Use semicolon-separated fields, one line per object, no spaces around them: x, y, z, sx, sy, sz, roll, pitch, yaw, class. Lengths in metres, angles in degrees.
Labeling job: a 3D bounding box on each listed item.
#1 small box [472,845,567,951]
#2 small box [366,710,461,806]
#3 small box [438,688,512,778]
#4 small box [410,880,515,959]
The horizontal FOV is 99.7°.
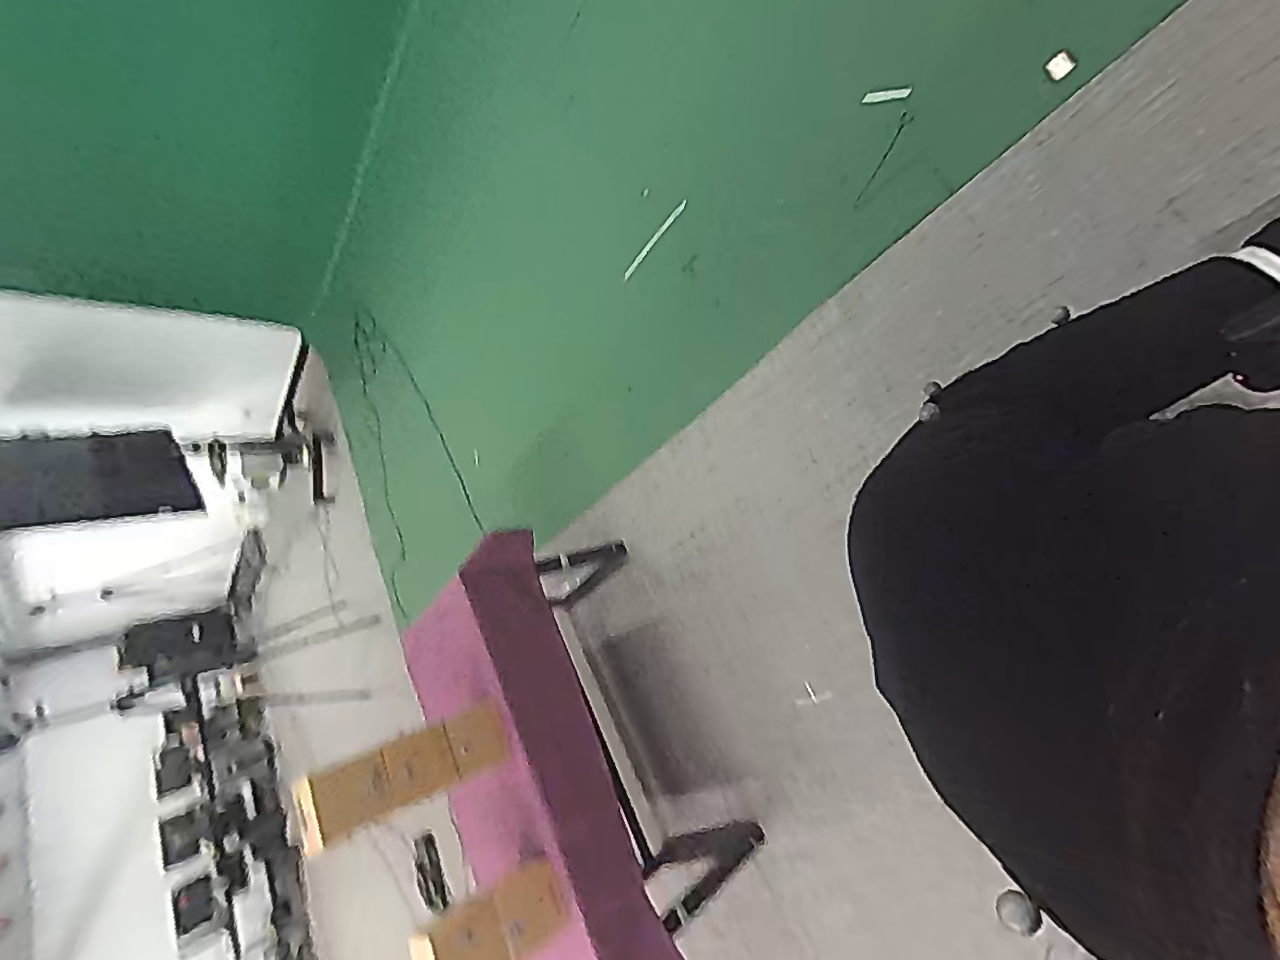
-0.324;1.115;1.455;0.179;0.176;0.168;-40;68;40;small box
-0.616;0.749;1.472;0.168;0.176;0.179;-41;67;38;small box
-0.501;0.739;1.587;0.168;0.176;0.179;-41;66;39;small box
-0.439;1.128;1.339;0.168;0.176;0.179;-39;68;40;small box
